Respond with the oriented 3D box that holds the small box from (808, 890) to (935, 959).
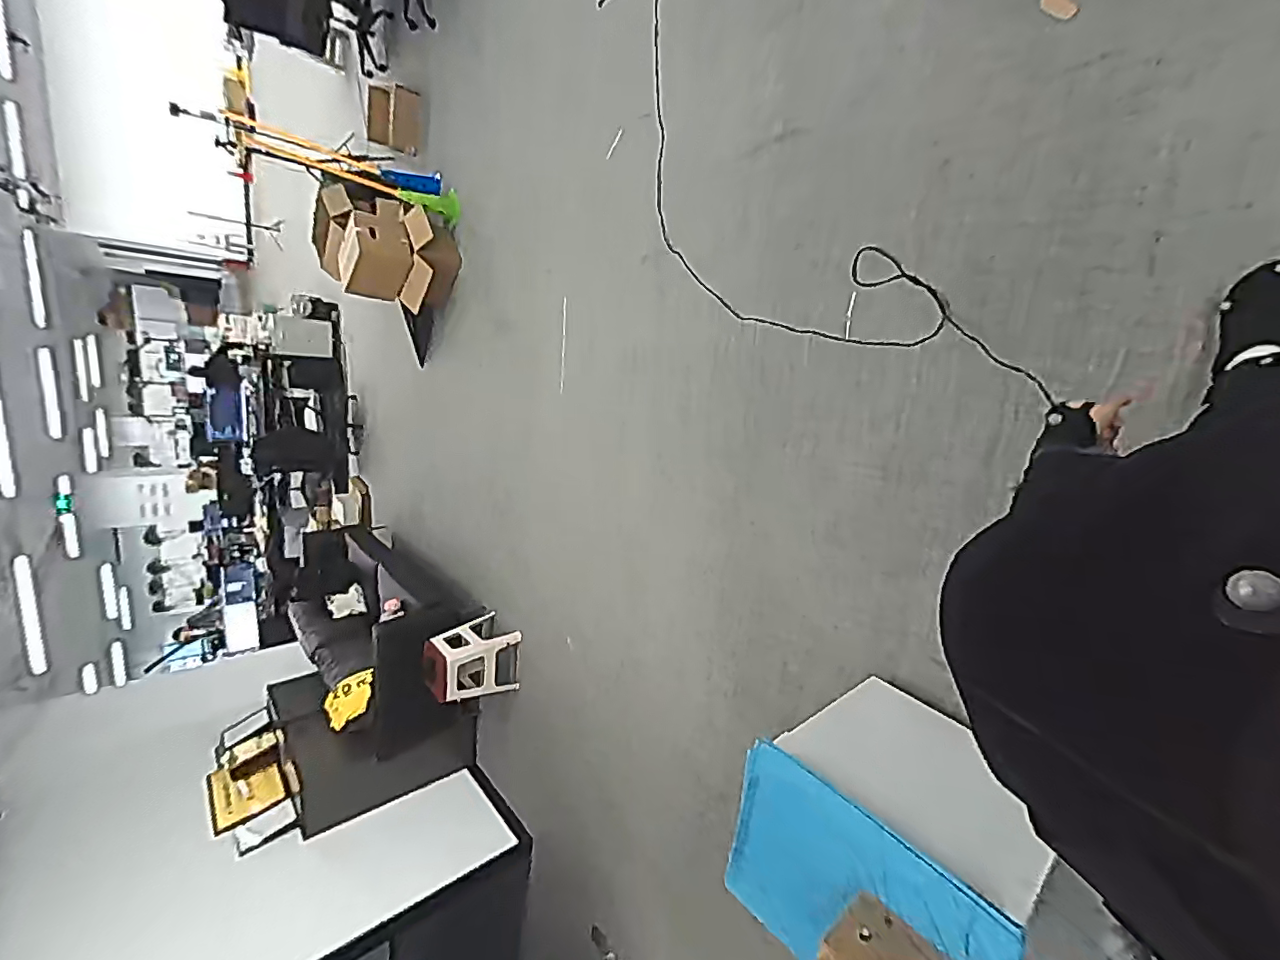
[{"bbox_3d":[0.407,0.891,0.959,0.168,0.176,0.179,23,112,46],"label":"small box"}]
